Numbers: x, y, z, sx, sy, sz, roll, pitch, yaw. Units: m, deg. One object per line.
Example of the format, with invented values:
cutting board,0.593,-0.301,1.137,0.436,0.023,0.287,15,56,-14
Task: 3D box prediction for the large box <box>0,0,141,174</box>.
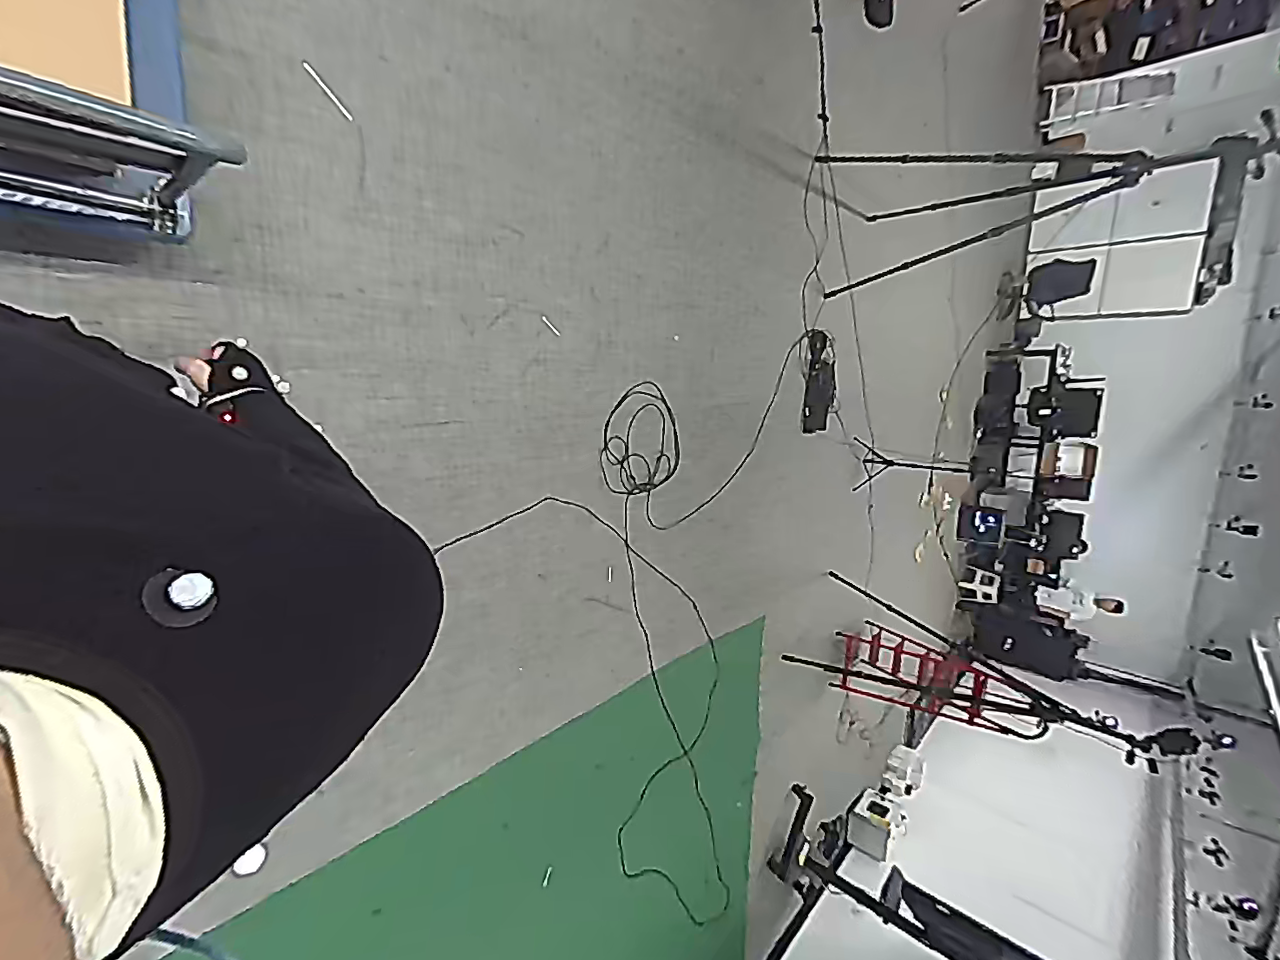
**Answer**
large box,-0.971,-0.739,0.789,0.320,0.320,0.408,-7,101,-47
